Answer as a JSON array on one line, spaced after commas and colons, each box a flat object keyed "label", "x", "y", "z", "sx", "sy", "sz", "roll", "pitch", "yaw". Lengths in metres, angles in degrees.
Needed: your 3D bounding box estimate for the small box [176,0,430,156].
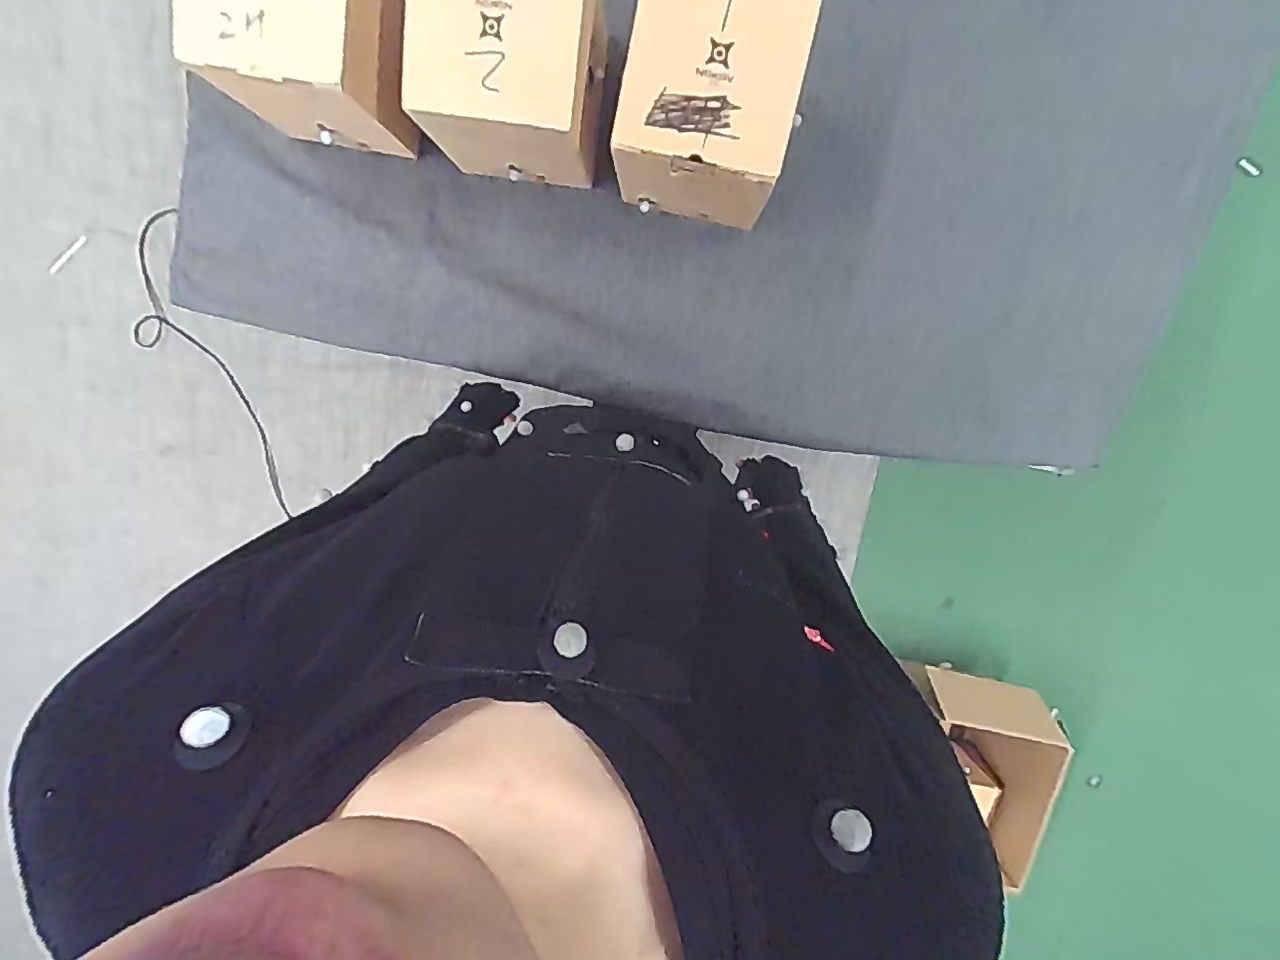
[{"label": "small box", "x": -0.342, "y": -0.486, "z": 0.578, "sx": 0.168, "sy": 0.176, "sz": 0.179, "roll": 10, "pitch": 101, "yaw": 0}]
